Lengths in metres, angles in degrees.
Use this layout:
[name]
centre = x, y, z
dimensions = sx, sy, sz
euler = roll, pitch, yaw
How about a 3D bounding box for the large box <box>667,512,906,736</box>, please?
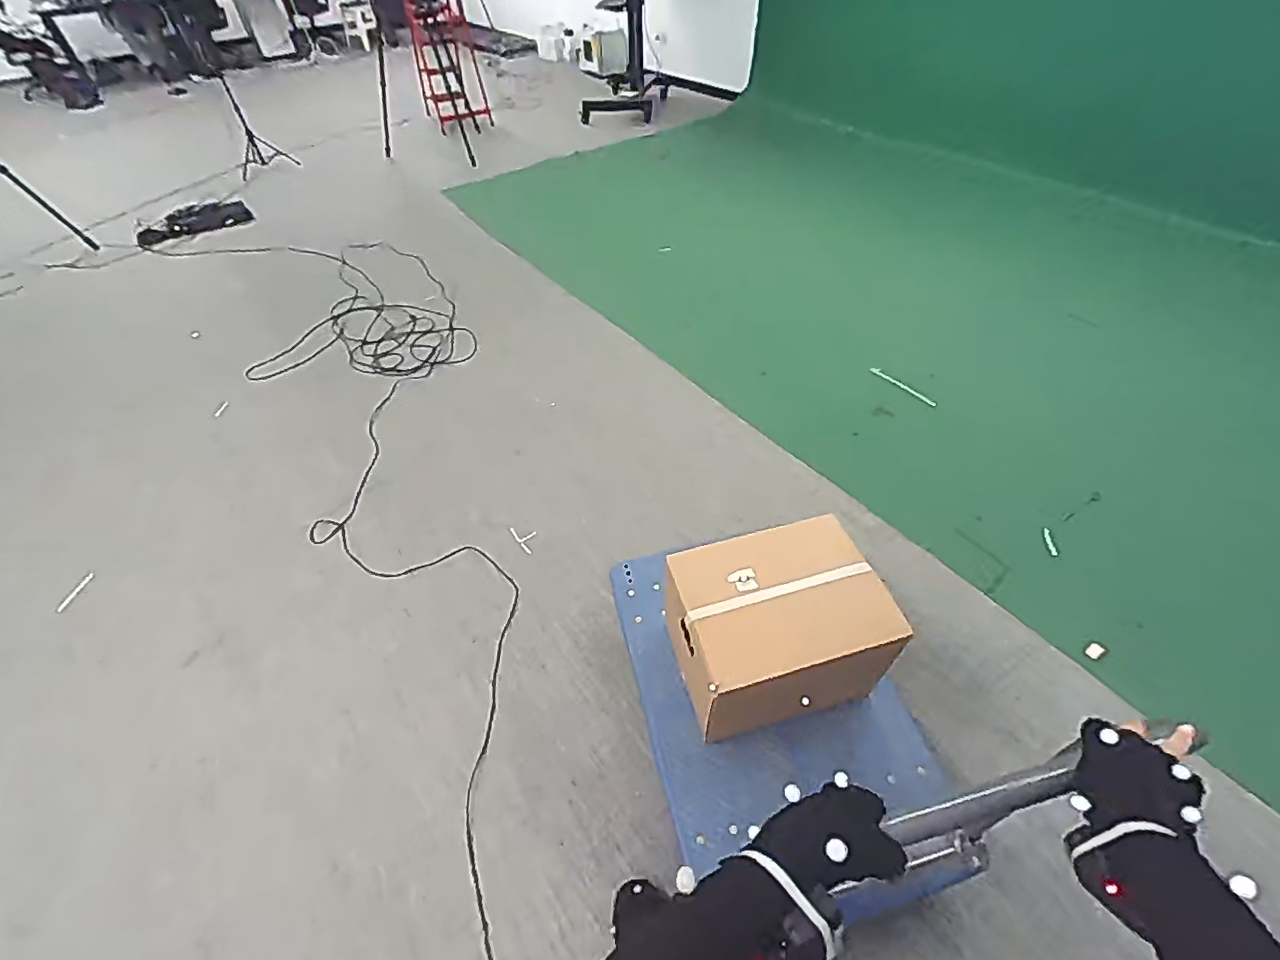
[large box]
centre = 0.296, 0.326, 1.224
dimensions = 0.408, 0.320, 0.320
euler = -14, 49, -9
